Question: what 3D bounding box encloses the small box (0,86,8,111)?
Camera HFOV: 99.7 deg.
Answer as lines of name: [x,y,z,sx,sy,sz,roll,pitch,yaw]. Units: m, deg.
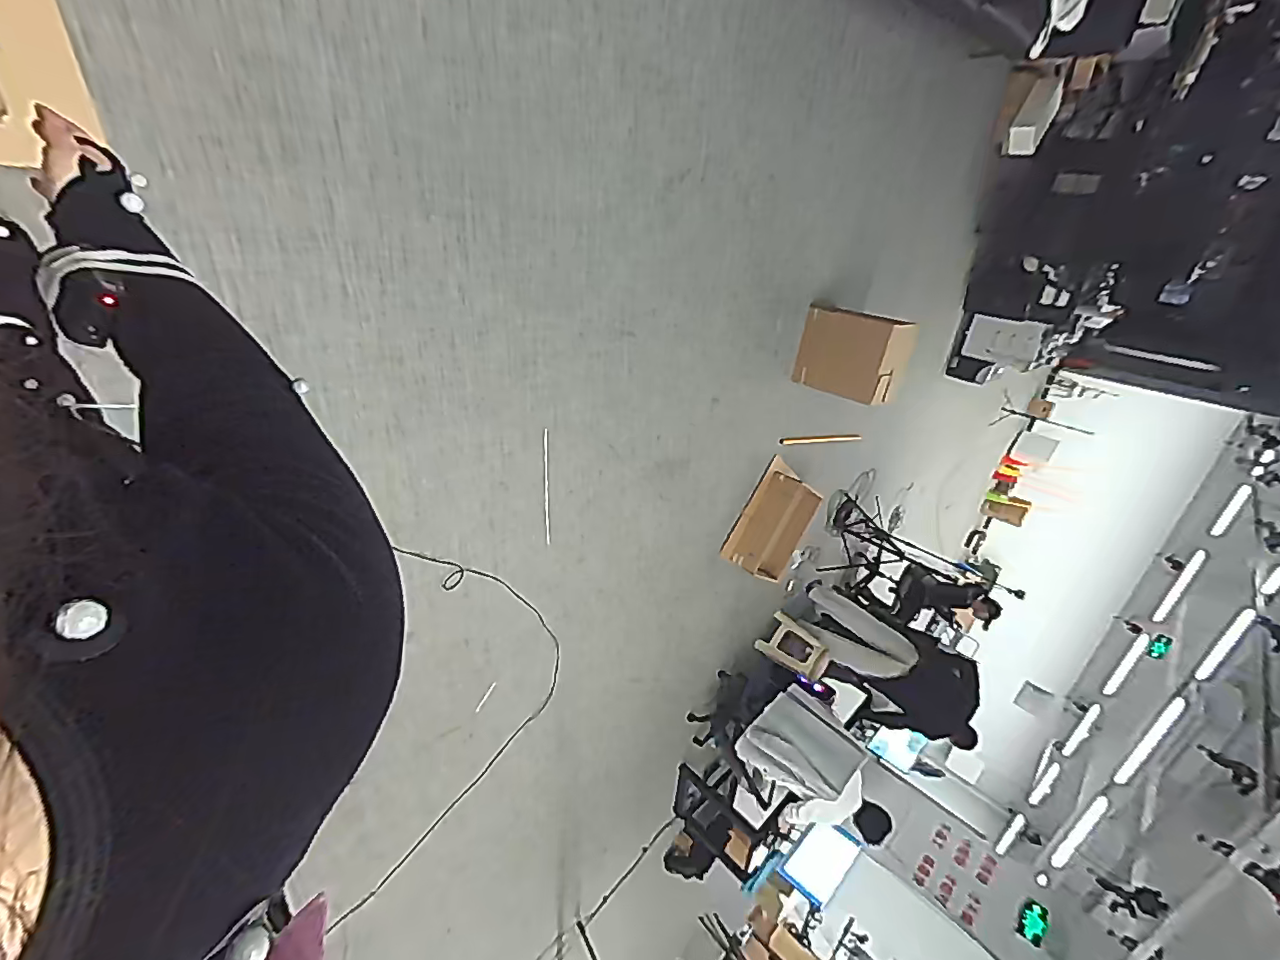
small box: [-0.788,-0.469,0.531,0.179,0.176,0.168,-24,129,-37]
